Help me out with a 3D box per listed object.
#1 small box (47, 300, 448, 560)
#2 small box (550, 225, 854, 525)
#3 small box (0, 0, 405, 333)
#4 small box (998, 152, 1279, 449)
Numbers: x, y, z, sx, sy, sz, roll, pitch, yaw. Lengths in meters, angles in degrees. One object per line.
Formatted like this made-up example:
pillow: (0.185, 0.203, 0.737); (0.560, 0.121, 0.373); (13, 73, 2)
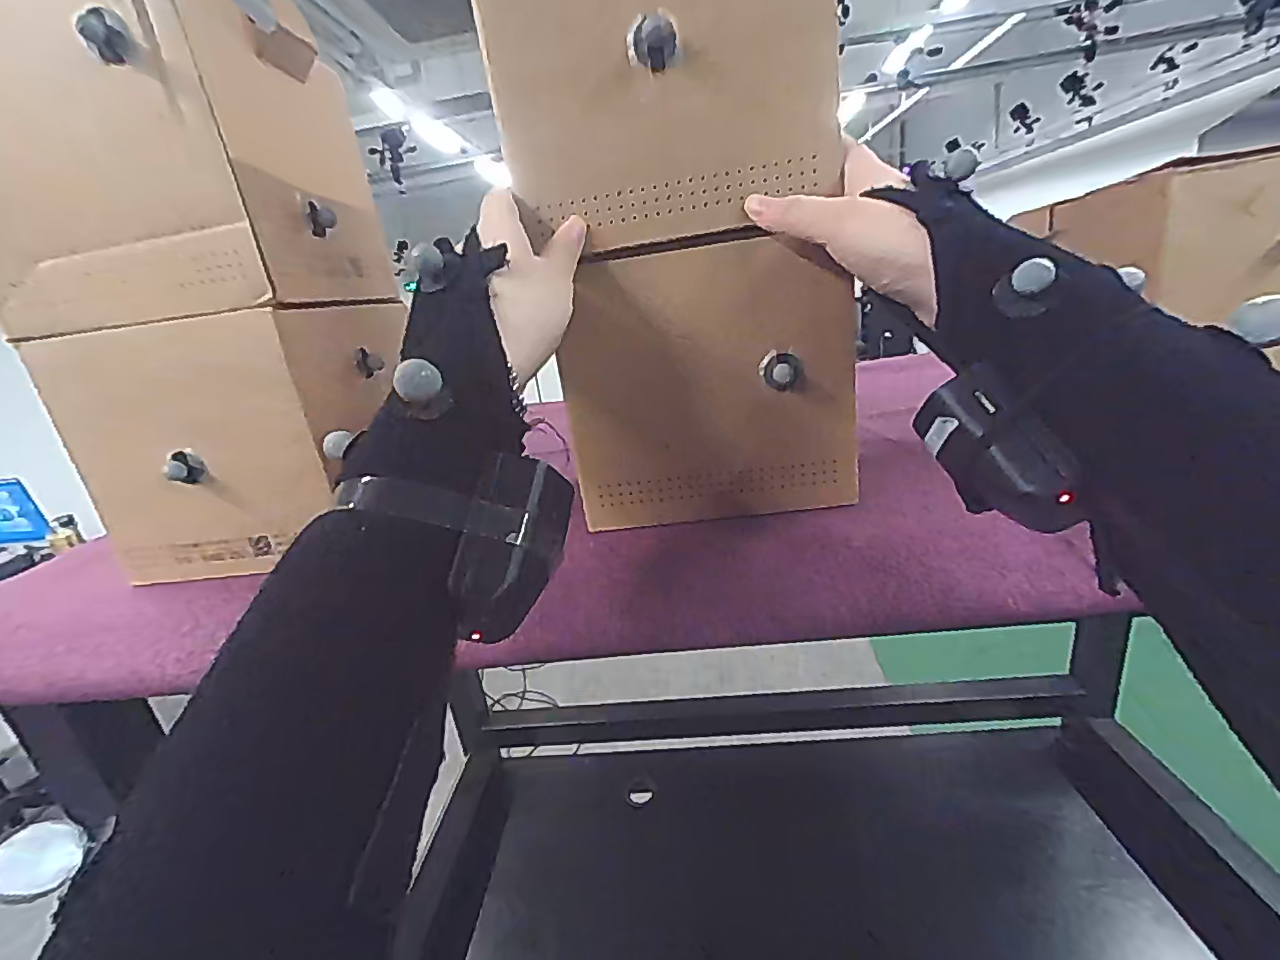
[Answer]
small box: (-0.271, -0.044, 0.428); (0.168, 0.176, 0.179); (-5, 18, 4)
small box: (0.048, -0.077, 0.406); (0.179, 0.176, 0.168); (-7, 16, 5)
small box: (-0.297, -0.196, 0.377); (0.179, 0.176, 0.168); (-6, 19, 2)
small box: (0.393, -0.123, 0.393); (0.179, 0.176, 0.168); (-5, 16, 7)
